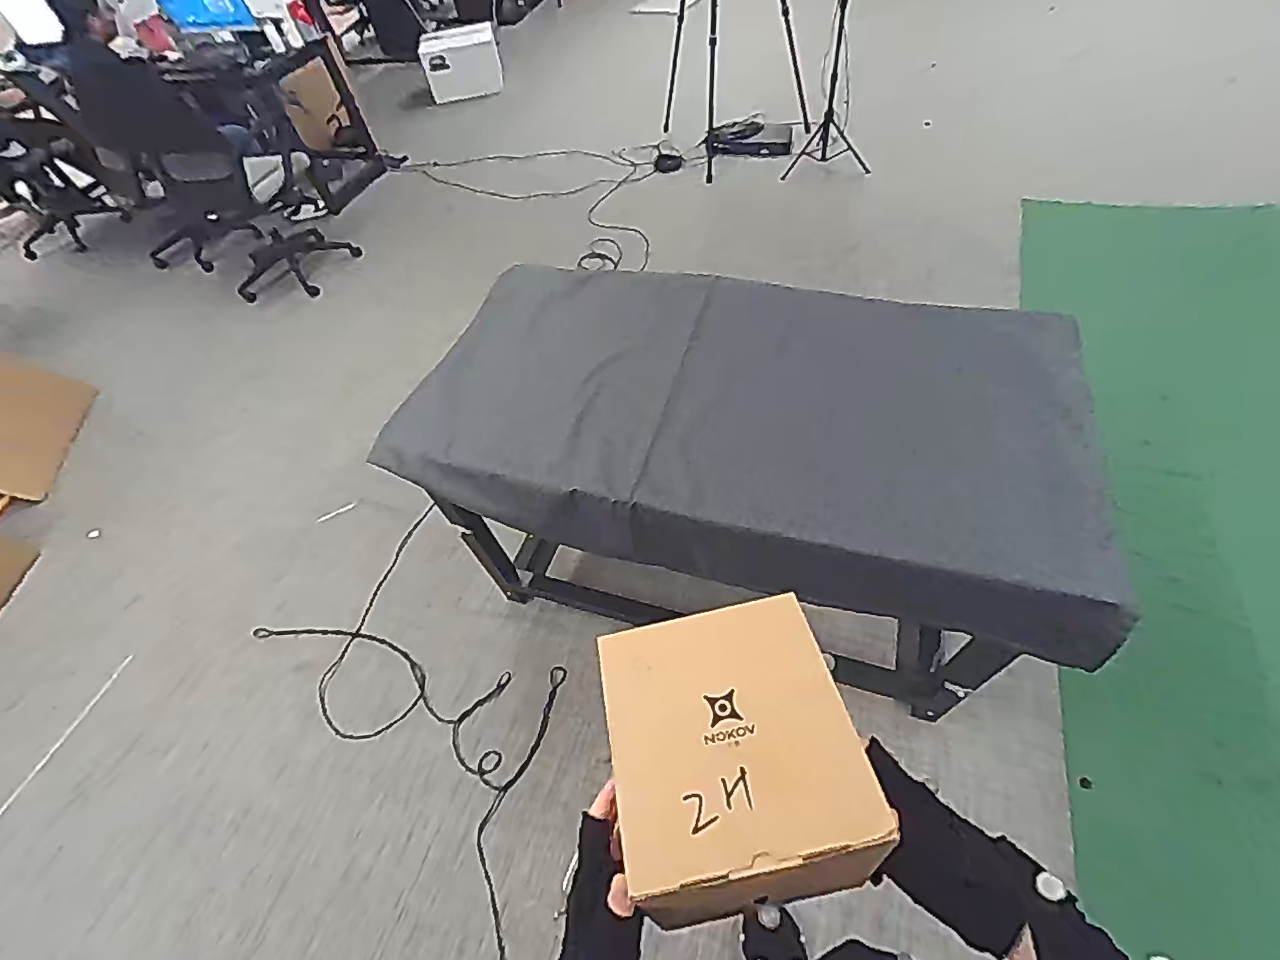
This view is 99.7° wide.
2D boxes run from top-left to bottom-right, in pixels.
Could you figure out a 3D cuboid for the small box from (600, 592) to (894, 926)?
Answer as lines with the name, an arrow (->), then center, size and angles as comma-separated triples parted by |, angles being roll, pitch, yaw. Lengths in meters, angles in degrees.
small box -> 0.070, 0.221, 0.431 | 0.168, 0.176, 0.179 | -13, 45, 0
